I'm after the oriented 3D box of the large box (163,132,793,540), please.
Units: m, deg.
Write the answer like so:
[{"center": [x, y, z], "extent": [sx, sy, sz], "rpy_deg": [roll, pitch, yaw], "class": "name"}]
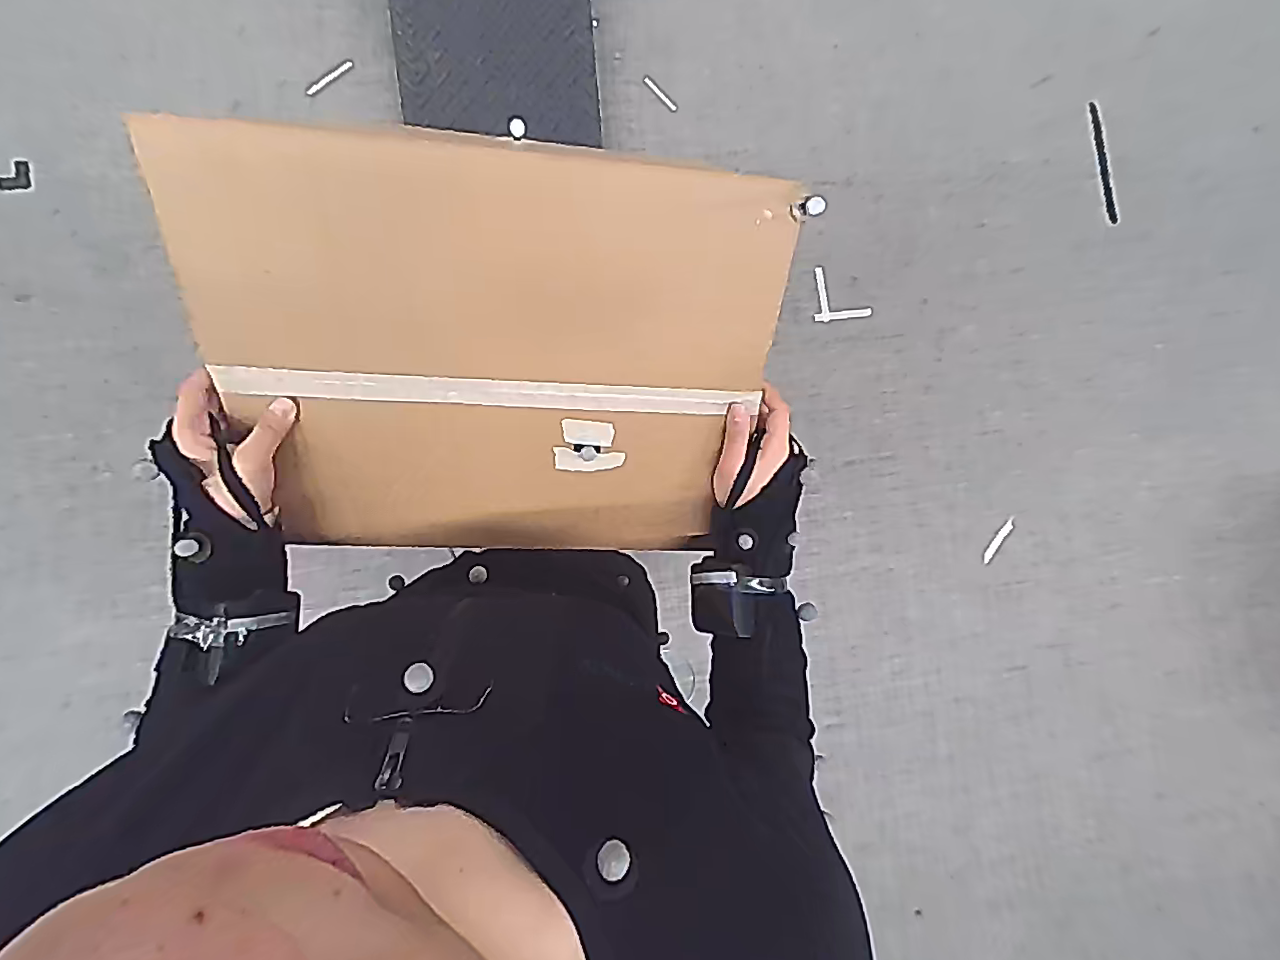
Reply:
[{"center": [-0.119, -0.156, 0.549], "extent": [0.408, 0.320, 0.320], "rpy_deg": [1, 124, -8], "class": "large box"}]
